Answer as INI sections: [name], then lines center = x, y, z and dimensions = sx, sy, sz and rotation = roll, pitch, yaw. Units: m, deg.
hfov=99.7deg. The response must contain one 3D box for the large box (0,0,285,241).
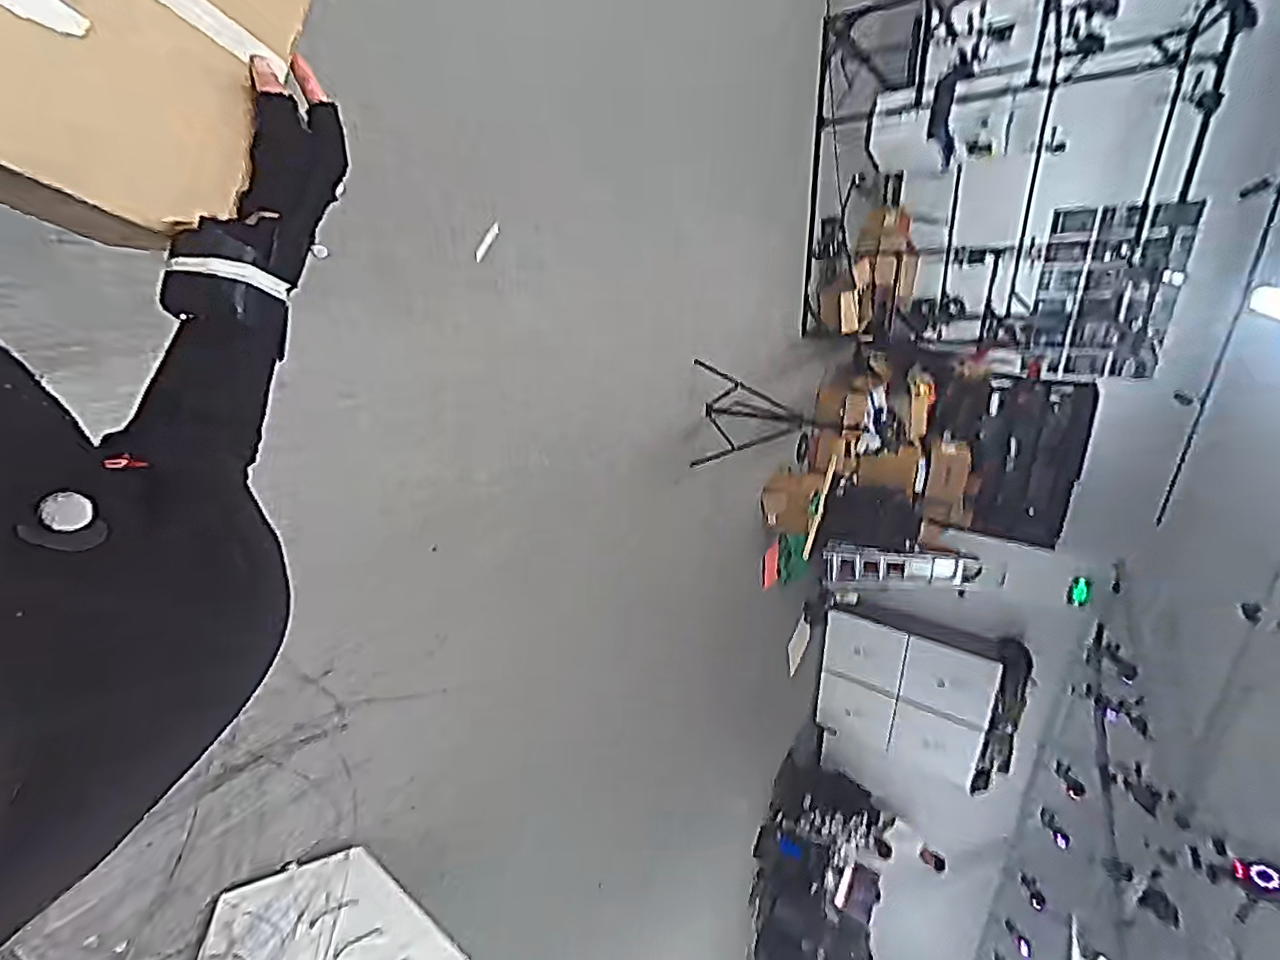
[large box]
center = -0.527, -0.402, 0.346
dimensions = 0.408, 0.320, 0.320
rotation = 15, 93, -60
